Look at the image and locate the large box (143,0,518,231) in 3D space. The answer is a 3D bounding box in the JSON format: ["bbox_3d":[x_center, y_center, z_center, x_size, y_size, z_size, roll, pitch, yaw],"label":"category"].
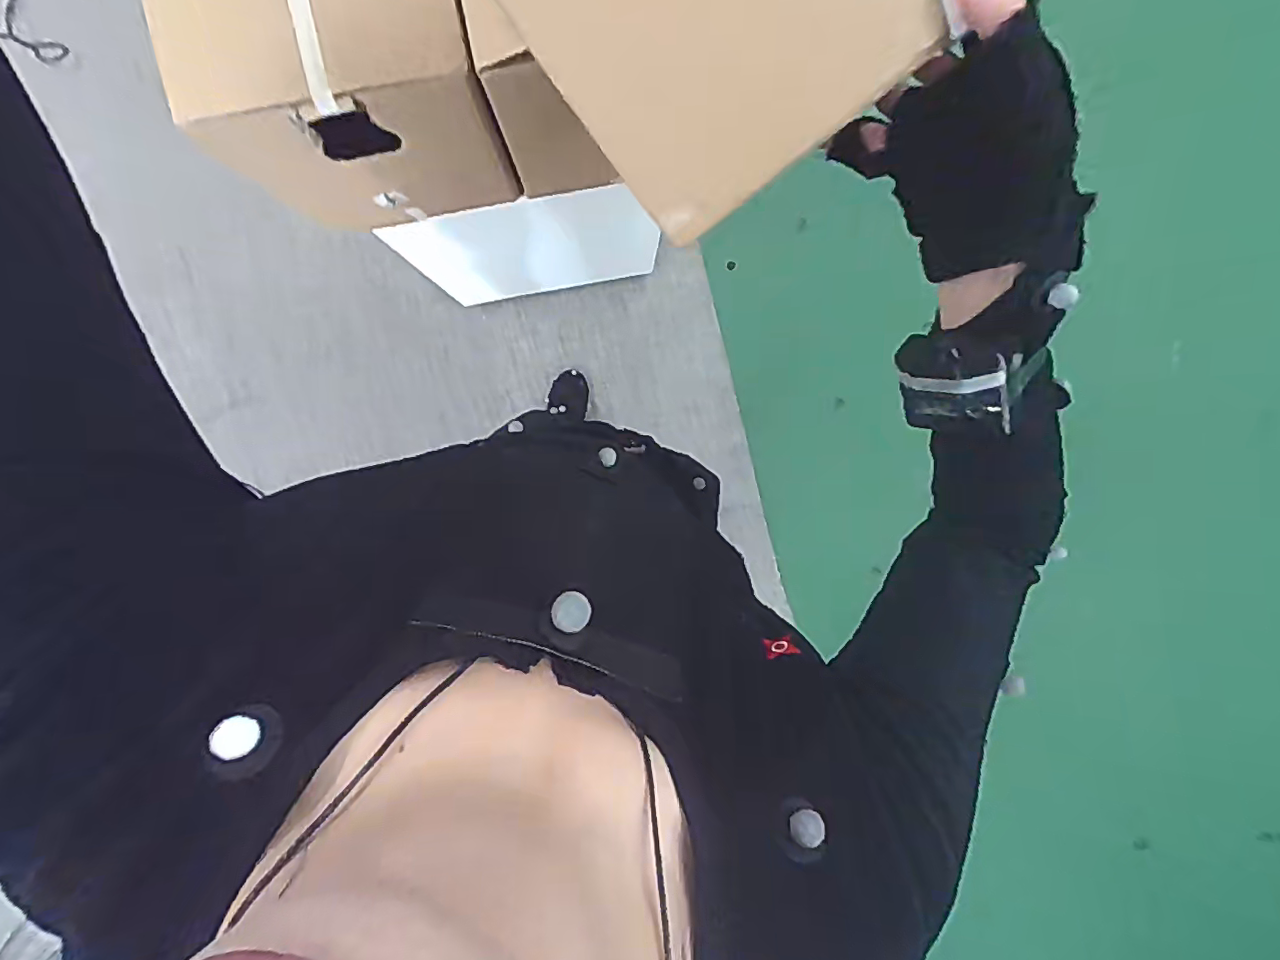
[{"bbox_3d":[-0.377,-0.604,0.695,0.320,0.320,0.408,-12,94,-1],"label":"large box"}]
